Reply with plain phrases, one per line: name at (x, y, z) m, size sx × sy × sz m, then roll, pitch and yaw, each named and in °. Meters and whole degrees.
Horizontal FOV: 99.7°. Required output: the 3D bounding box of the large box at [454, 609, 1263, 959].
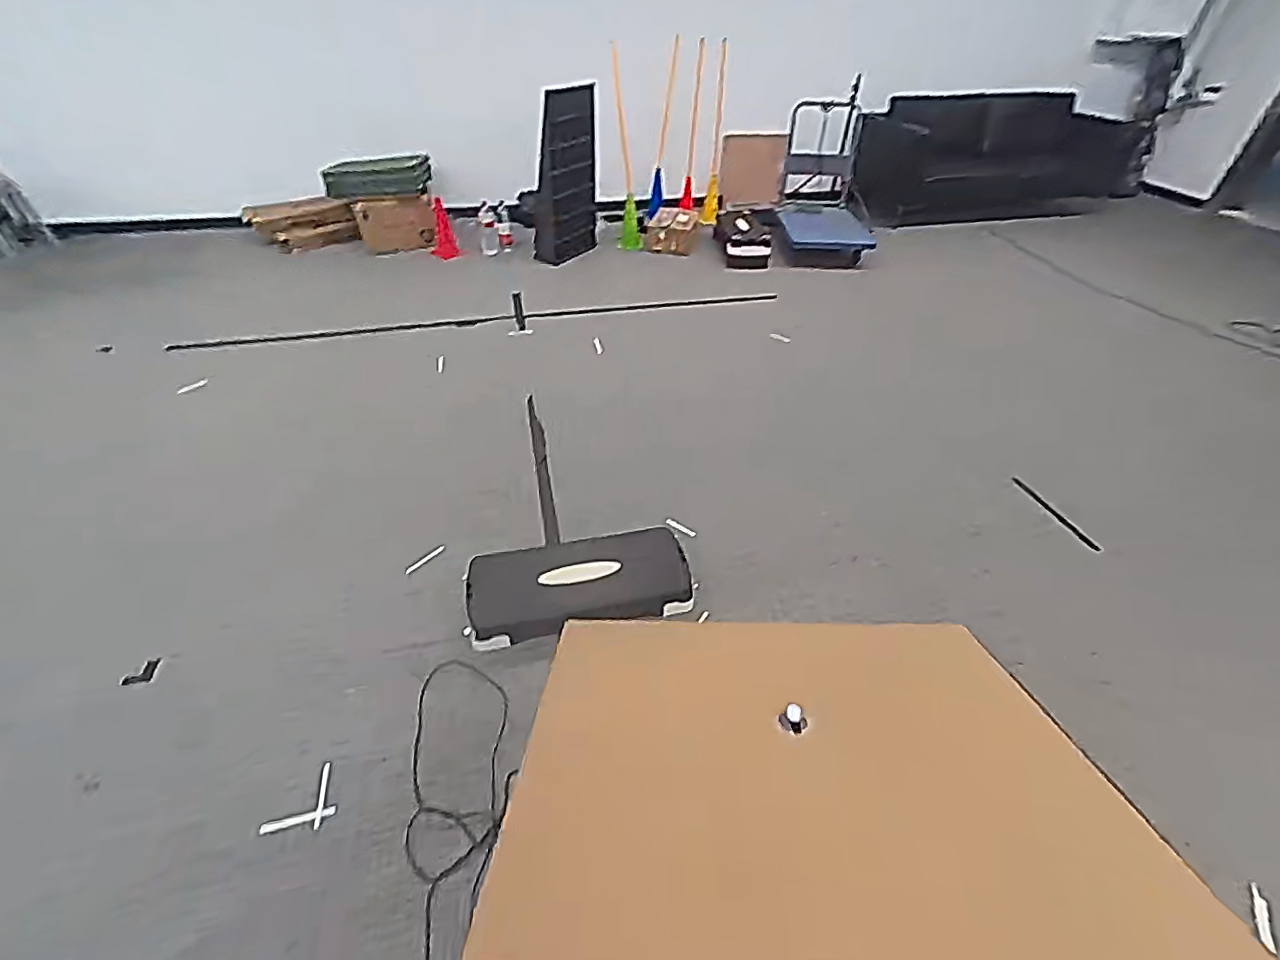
large box at (0.111, 0.324, 0.453) m, size 0.408 × 0.320 × 0.320 m, roll -2°, pitch 20°, yaw 2°
